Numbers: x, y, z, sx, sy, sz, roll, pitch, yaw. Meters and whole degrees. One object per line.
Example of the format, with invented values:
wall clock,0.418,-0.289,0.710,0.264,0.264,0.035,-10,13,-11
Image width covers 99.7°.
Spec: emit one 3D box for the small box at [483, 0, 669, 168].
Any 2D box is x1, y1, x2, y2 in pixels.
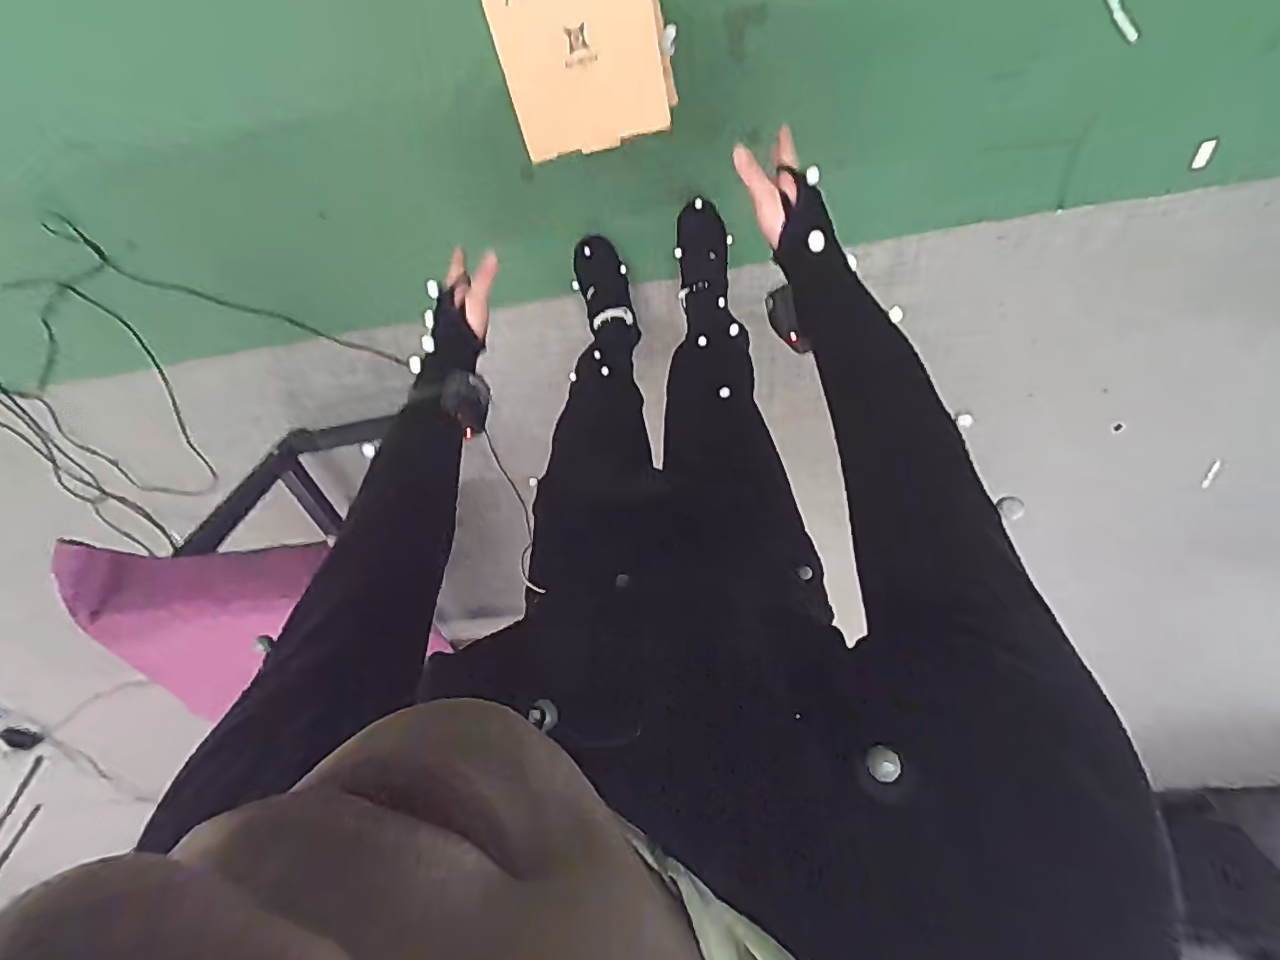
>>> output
small box,-0.060,-0.488,0.620,0.168,0.176,0.179,-9,128,9
